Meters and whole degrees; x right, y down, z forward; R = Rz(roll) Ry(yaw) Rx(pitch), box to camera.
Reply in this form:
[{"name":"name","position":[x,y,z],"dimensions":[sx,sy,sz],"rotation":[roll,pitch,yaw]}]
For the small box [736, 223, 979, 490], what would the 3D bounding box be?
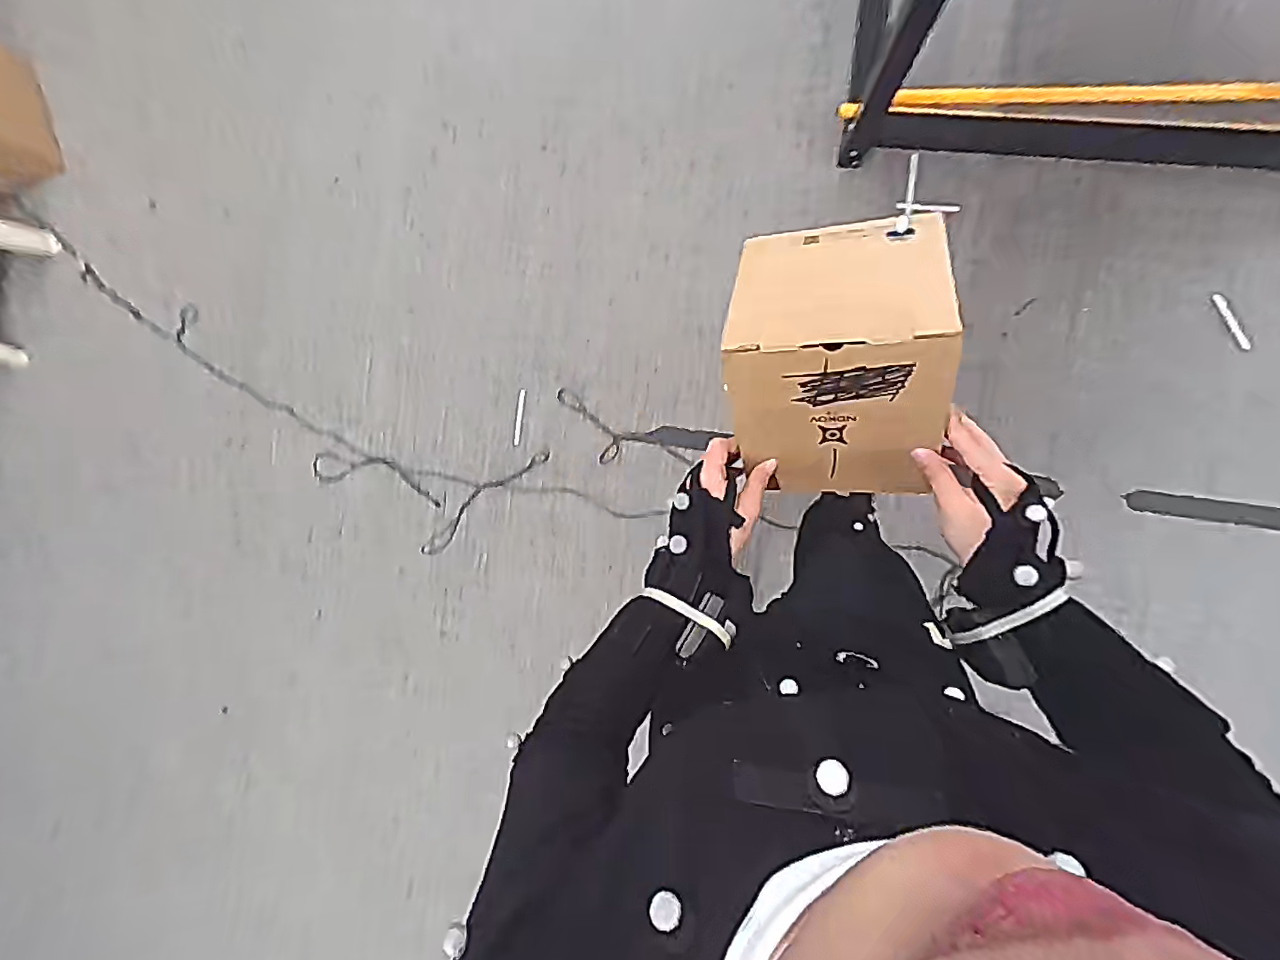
[{"name":"small box","position":[0.186,-0.111,0.489],"dimensions":[0.168,0.179,0.176],"rotation":[3,52,21]}]
